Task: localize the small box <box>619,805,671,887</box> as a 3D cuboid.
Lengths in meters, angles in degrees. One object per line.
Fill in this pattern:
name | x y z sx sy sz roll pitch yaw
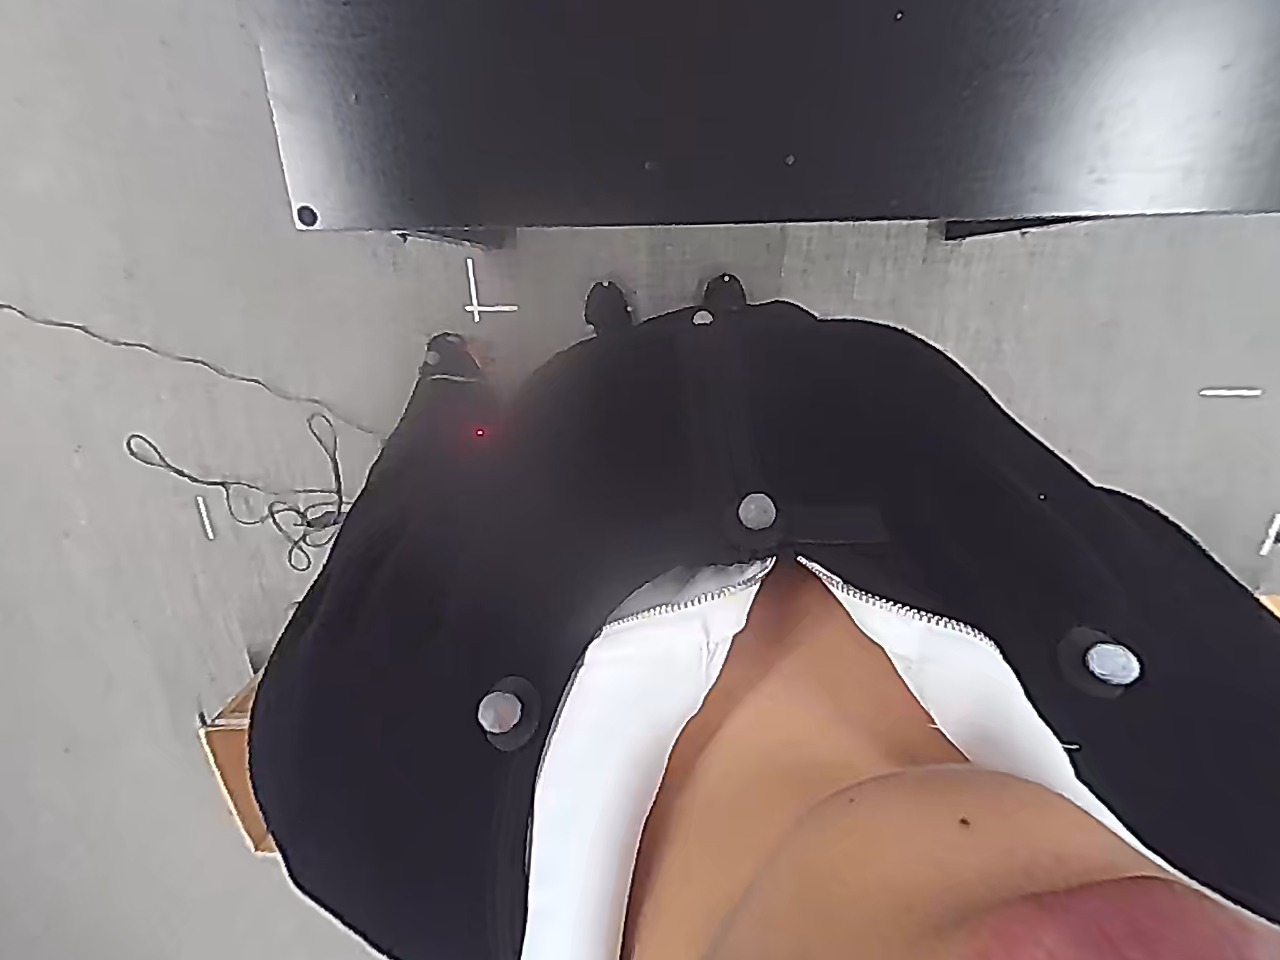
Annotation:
small box | 0.014 1.259 1.868 0.168 0.176 0.179 4 108 -1
